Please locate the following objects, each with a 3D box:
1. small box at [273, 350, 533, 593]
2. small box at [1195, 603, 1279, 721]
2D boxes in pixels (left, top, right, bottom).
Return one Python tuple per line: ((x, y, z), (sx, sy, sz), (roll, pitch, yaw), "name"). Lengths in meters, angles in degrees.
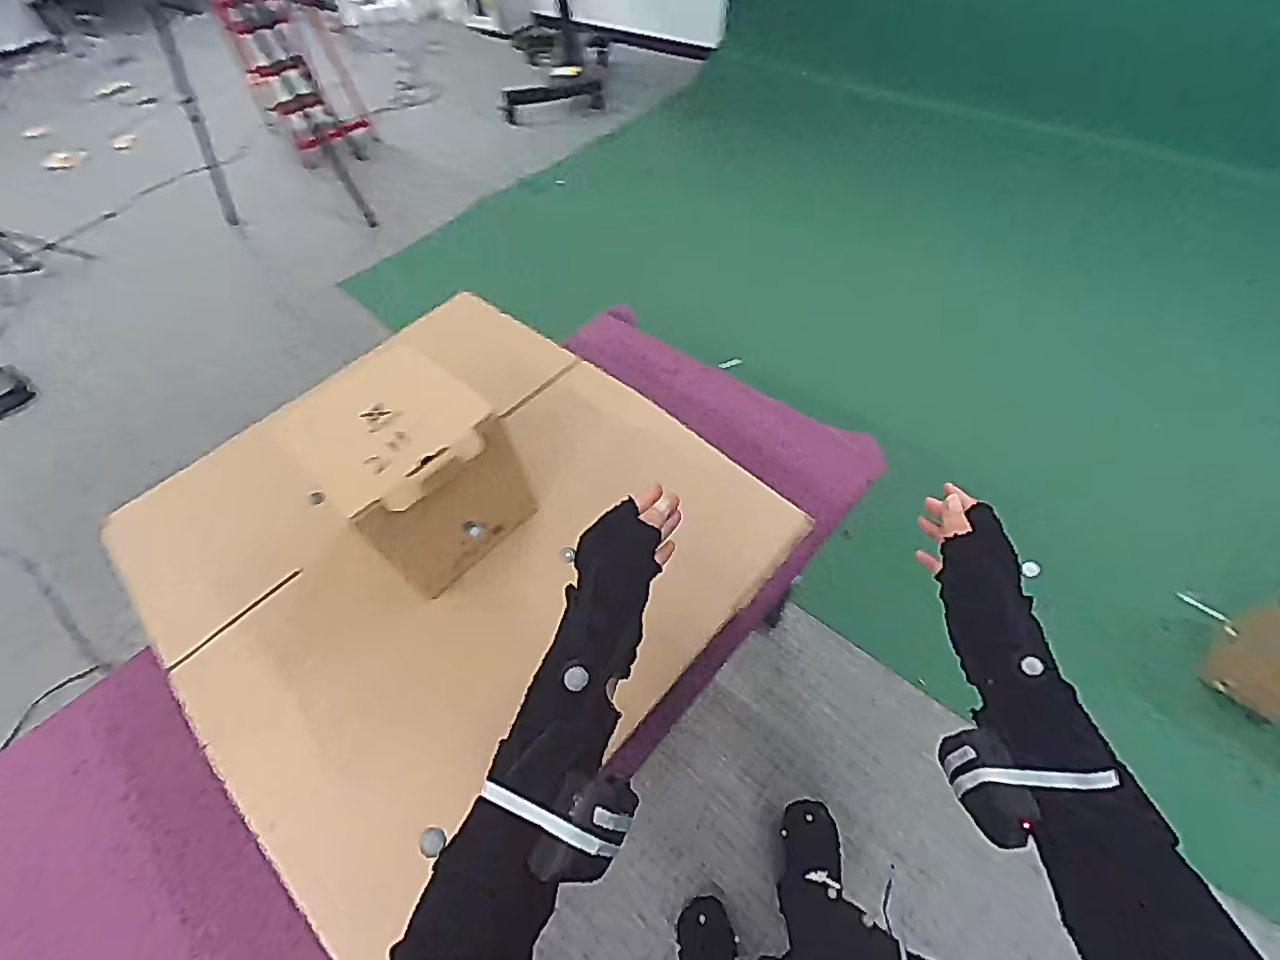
((-0.248, -0.006, 0.600), (0.179, 0.176, 0.168), (35, 65, 27), "small box")
((1.463, 0.428, 1.259), (0.168, 0.176, 0.179), (36, 64, 26), "small box")
